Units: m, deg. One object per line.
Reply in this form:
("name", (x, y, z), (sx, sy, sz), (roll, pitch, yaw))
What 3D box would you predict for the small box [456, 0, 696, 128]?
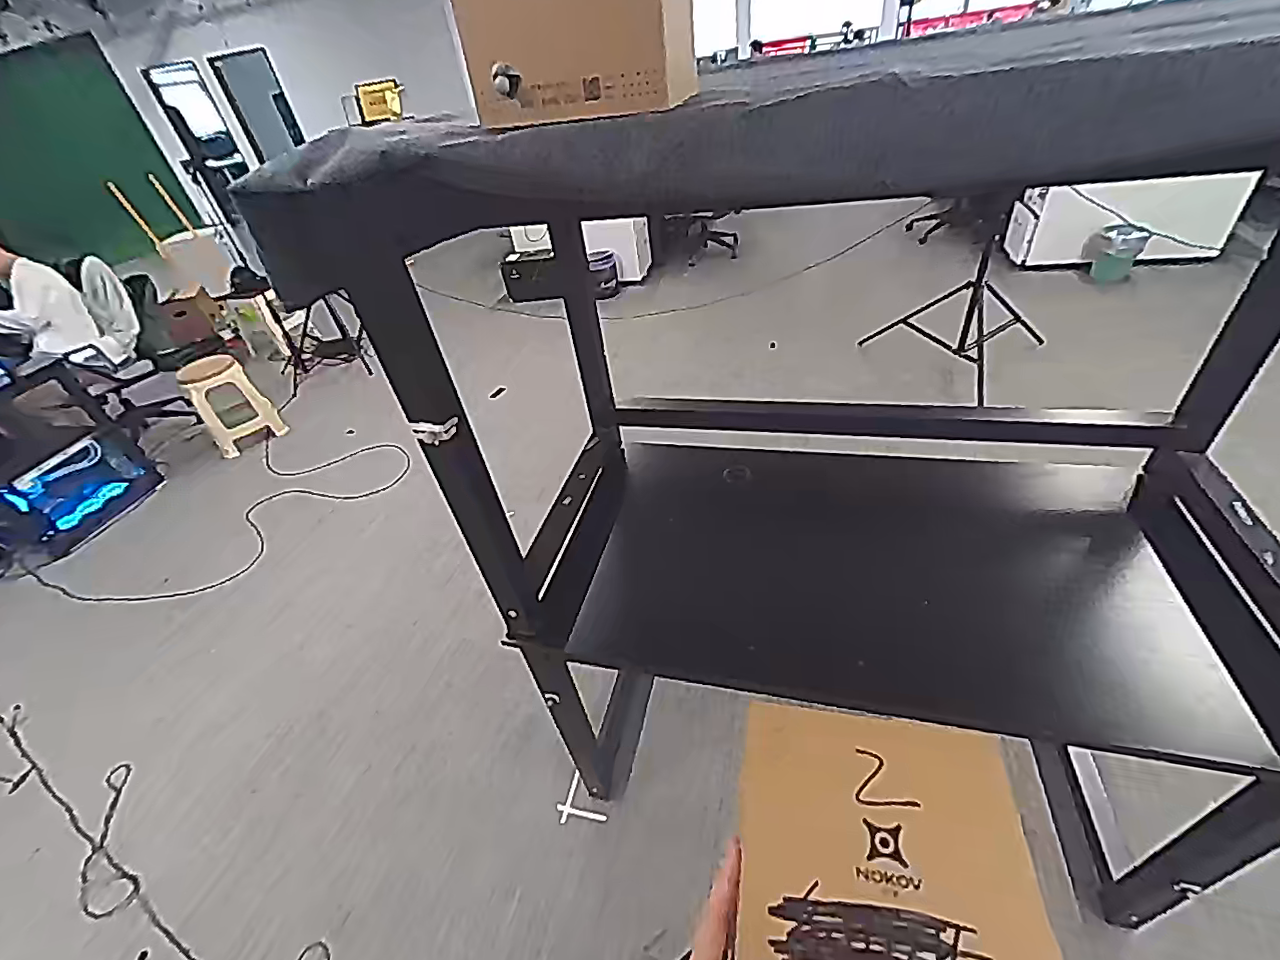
("small box", (-0.045, -0.409, 0.459), (0.168, 0.176, 0.179), (3, 38, 13))
